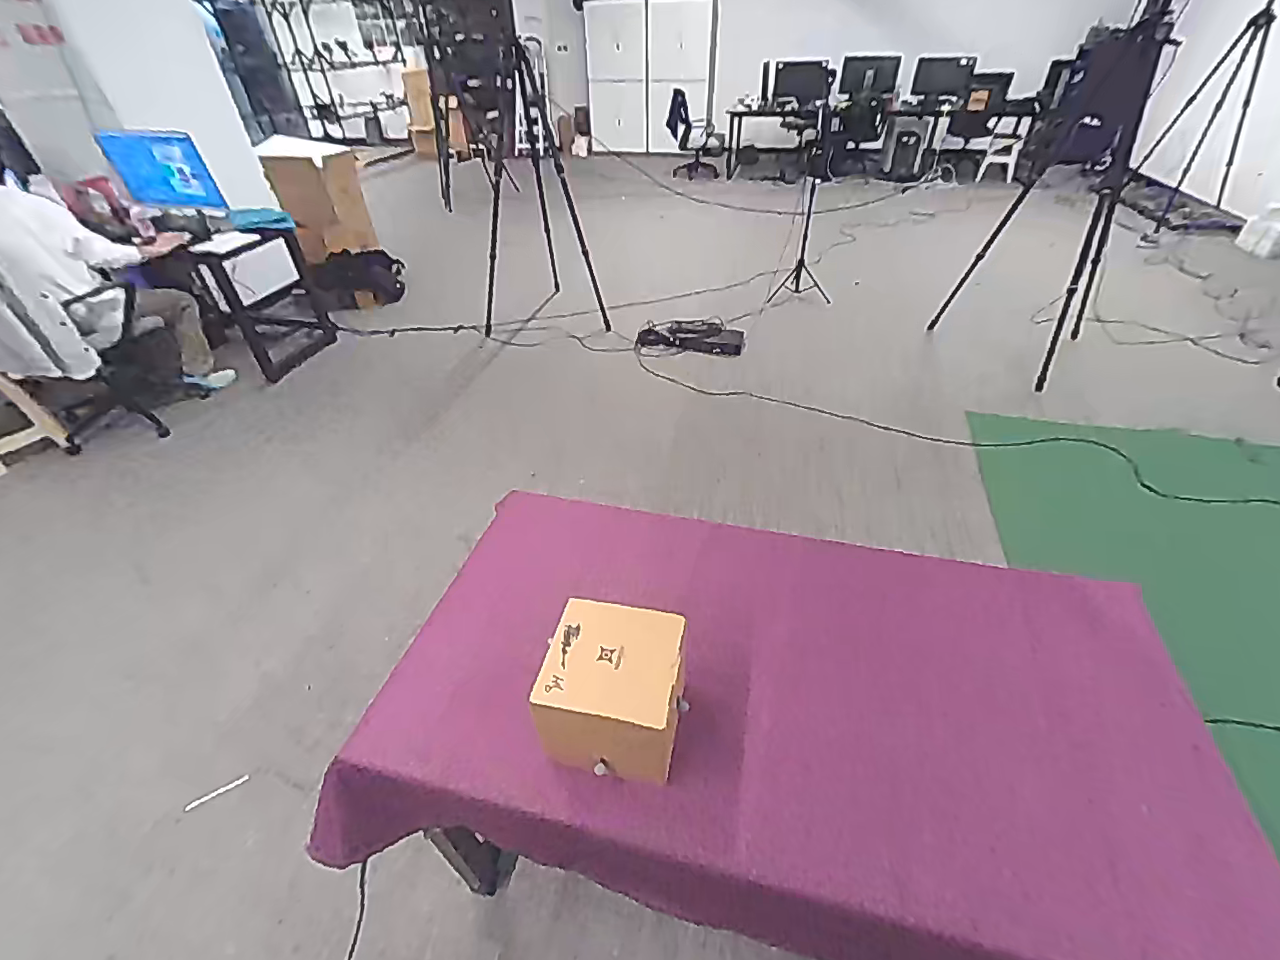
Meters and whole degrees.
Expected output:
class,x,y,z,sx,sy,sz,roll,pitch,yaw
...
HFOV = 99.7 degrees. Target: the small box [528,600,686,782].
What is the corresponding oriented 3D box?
class,x,y,z,sx,sy,sz,roll,pitch,yaw
small box,-0.037,0.299,0.764,0.179,0.176,0.168,8,40,10
